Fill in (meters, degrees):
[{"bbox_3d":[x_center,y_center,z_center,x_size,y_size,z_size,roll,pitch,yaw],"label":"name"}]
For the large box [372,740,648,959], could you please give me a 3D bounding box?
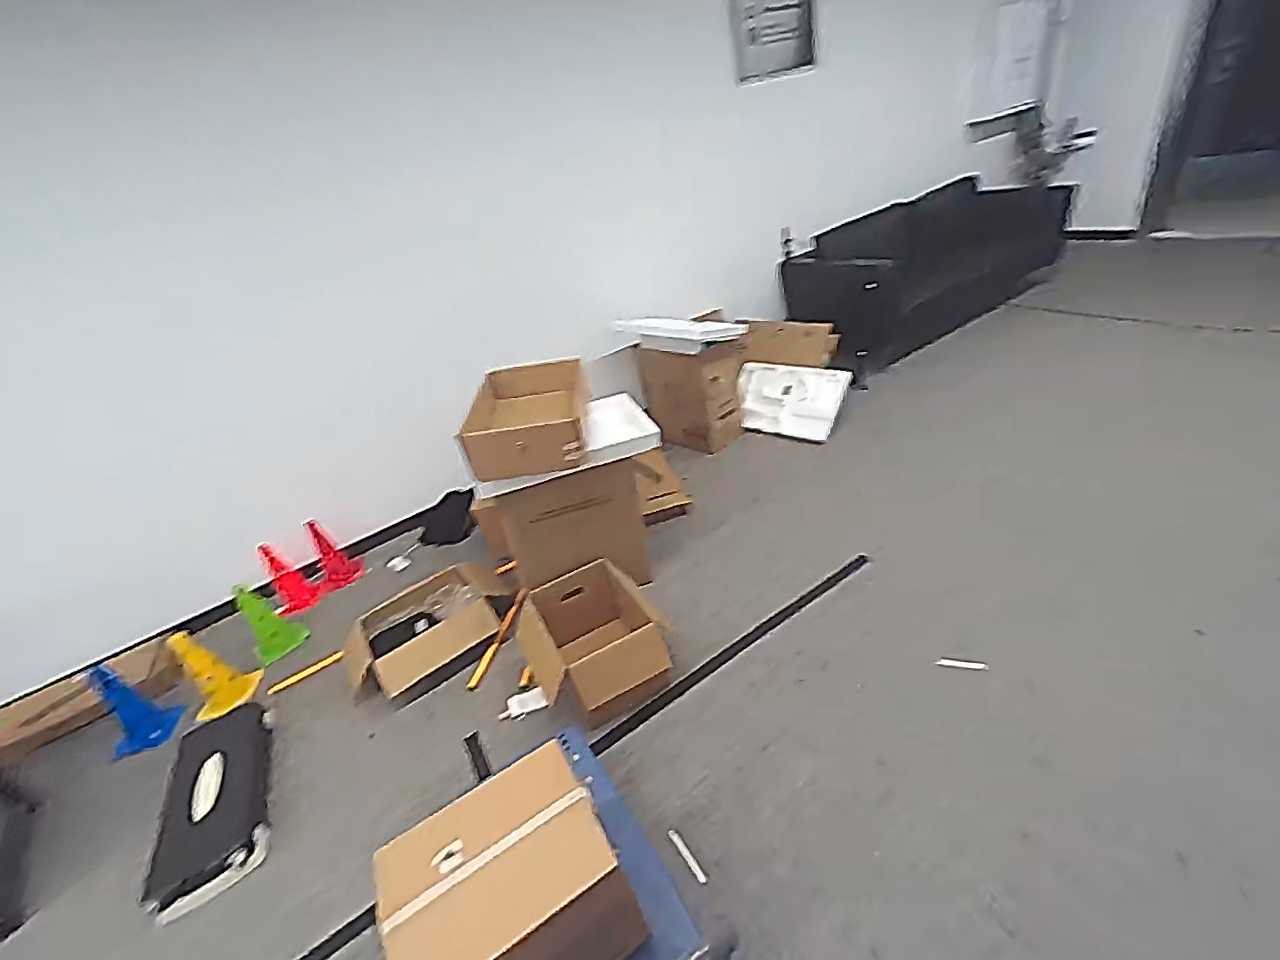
[{"bbox_3d":[-0.251,0.834,1.084,0.408,0.320,0.320,-27,32,-20],"label":"large box"}]
